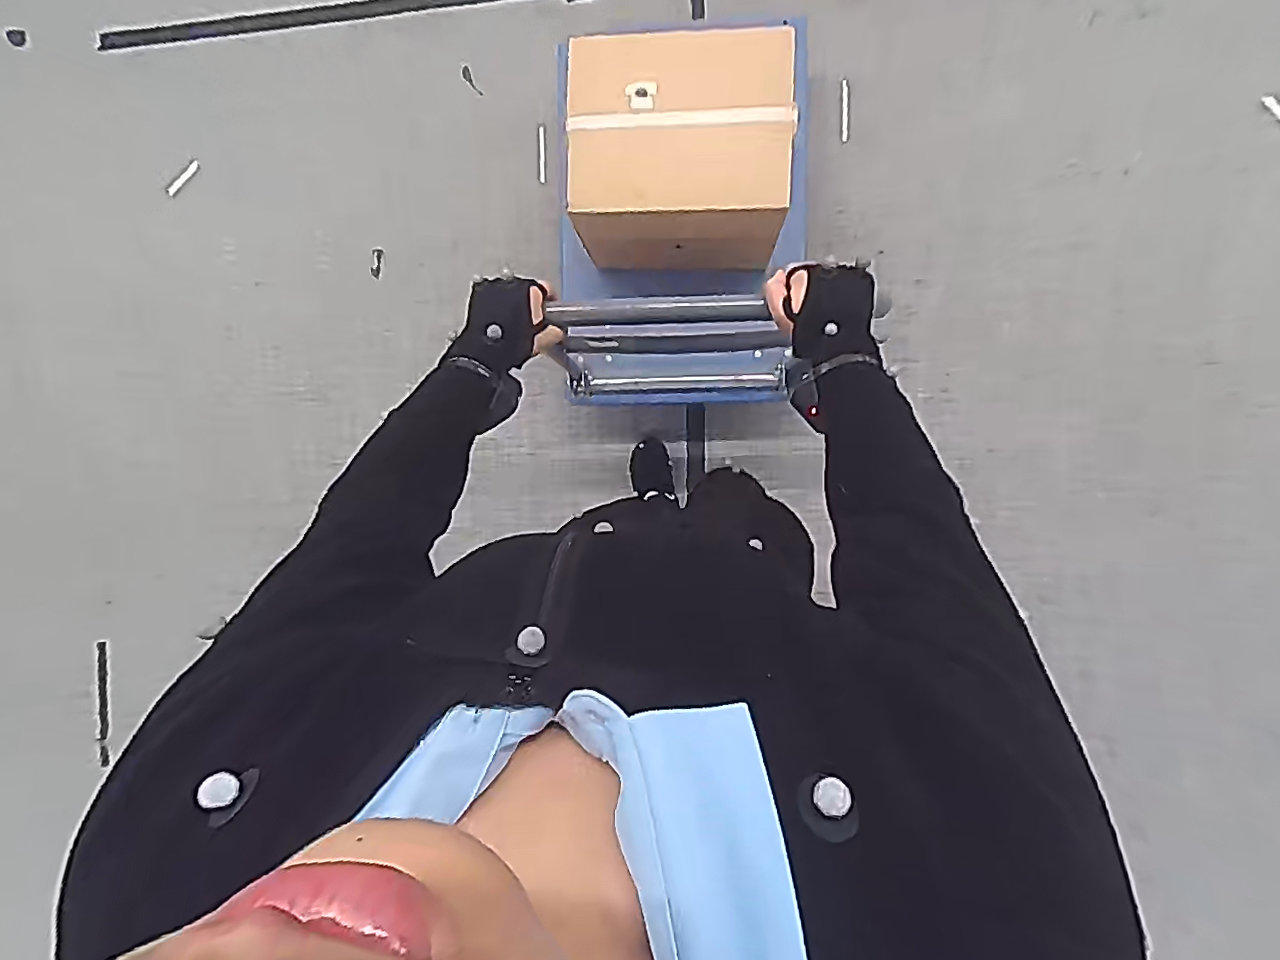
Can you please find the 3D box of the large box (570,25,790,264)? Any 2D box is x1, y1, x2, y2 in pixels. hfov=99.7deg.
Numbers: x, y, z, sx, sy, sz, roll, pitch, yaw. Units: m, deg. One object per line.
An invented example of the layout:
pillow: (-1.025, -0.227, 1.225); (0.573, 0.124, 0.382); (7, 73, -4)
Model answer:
large box: (0.085, -0.659, 1.128); (0.408, 0.320, 0.320); (1, 92, 6)
